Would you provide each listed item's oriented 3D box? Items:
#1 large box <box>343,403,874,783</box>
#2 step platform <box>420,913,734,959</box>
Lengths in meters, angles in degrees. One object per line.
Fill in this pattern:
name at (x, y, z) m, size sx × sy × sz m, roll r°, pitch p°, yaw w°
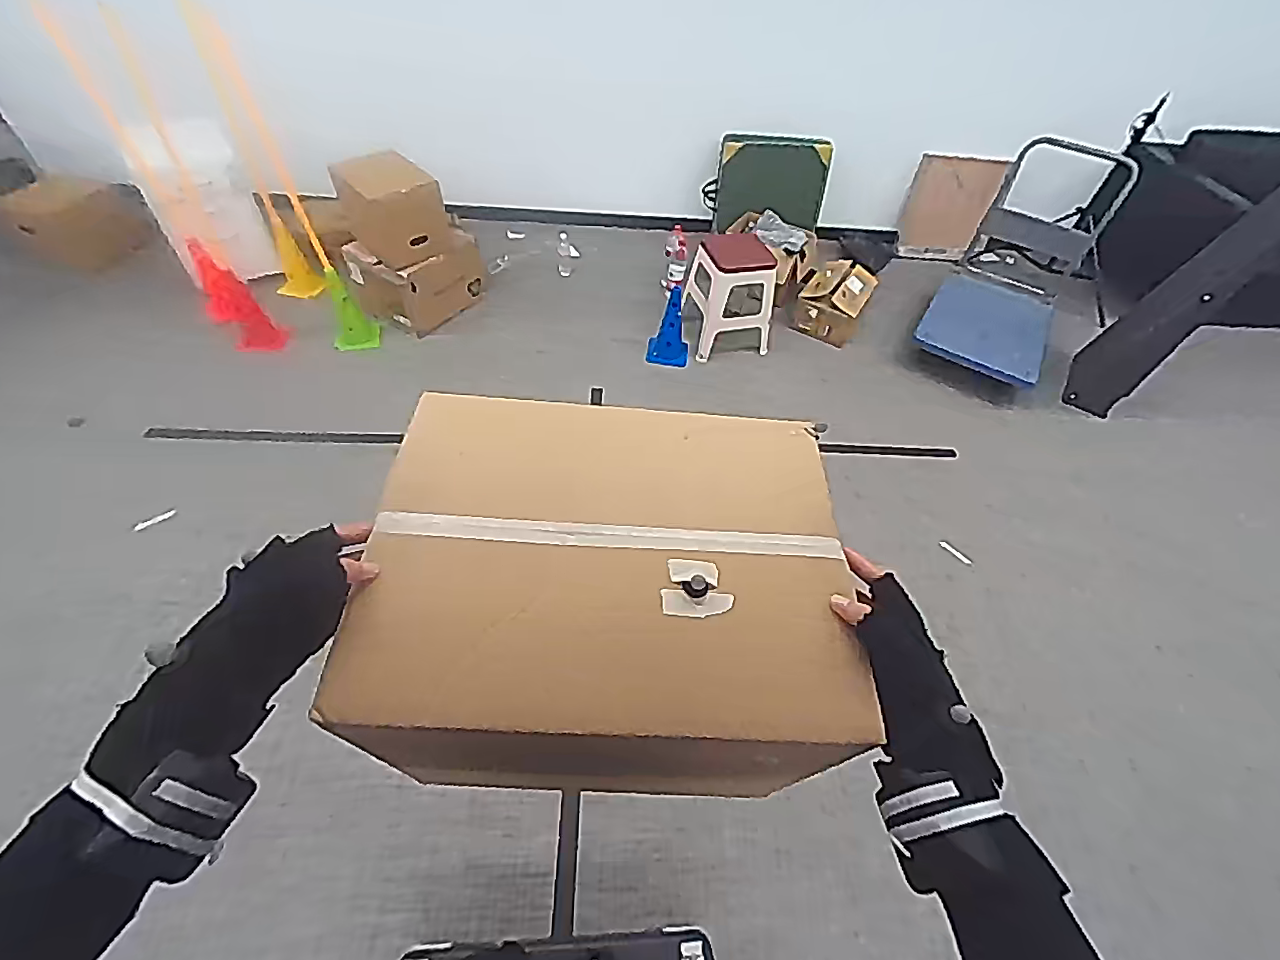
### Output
large box at (-0.032, 0.142, 0.603) m, size 0.408 × 0.320 × 0.320 m, roll 4°, pitch 54°, yaw -4°
step platform at (-0.131, 1.107, 1.123) m, size 0.684 × 0.204 × 0.286 m, roll 0°, pitch 51°, yaw -6°
